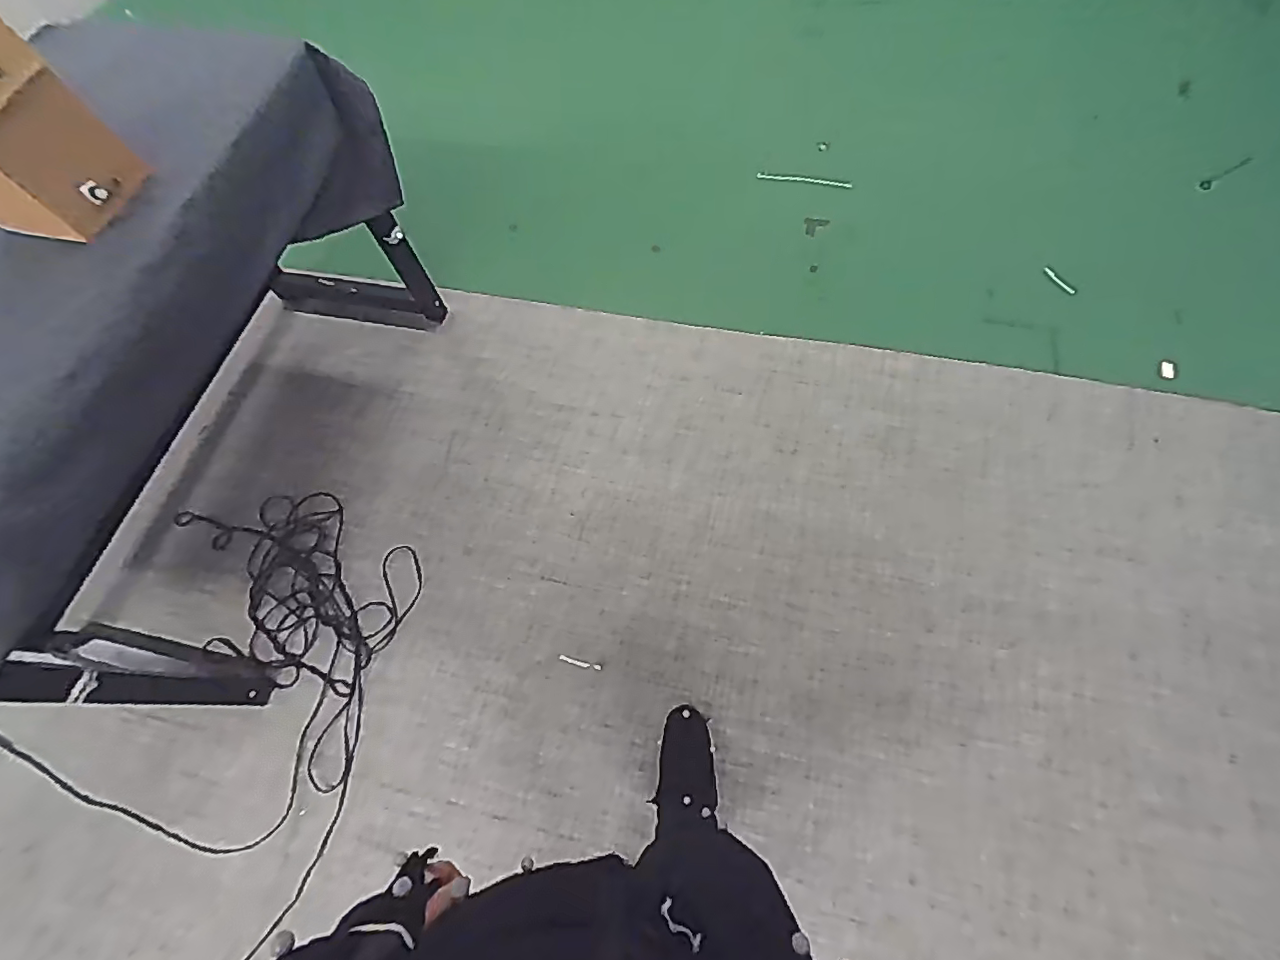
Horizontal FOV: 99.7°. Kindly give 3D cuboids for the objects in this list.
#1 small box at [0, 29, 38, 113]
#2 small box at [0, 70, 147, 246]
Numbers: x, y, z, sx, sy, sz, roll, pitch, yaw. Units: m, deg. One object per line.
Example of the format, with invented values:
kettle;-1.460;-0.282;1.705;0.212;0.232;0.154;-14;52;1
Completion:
small box;-0.921;-0.536;0.653;0.179;0.176;0.168;9;69;10
small box;-0.916;-0.476;0.805;0.179;0.176;0.168;11;69;8
